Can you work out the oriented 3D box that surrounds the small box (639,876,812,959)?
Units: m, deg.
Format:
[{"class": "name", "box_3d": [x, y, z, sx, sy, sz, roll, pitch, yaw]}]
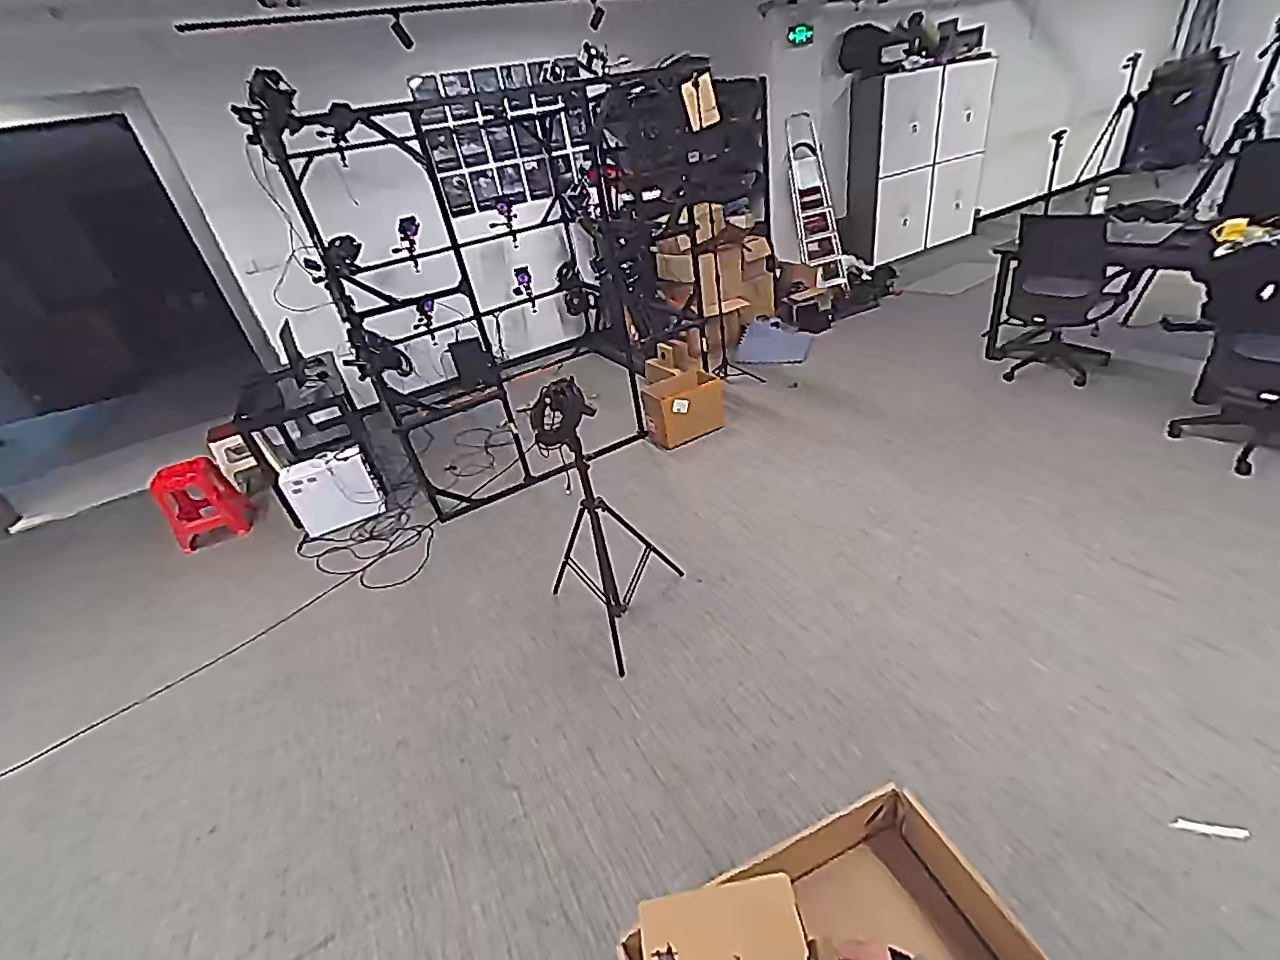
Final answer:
[{"class": "small box", "box_3d": [0.099, 0.571, 0.590, 0.179, 0.176, 0.168, -9, 34, -3]}]
